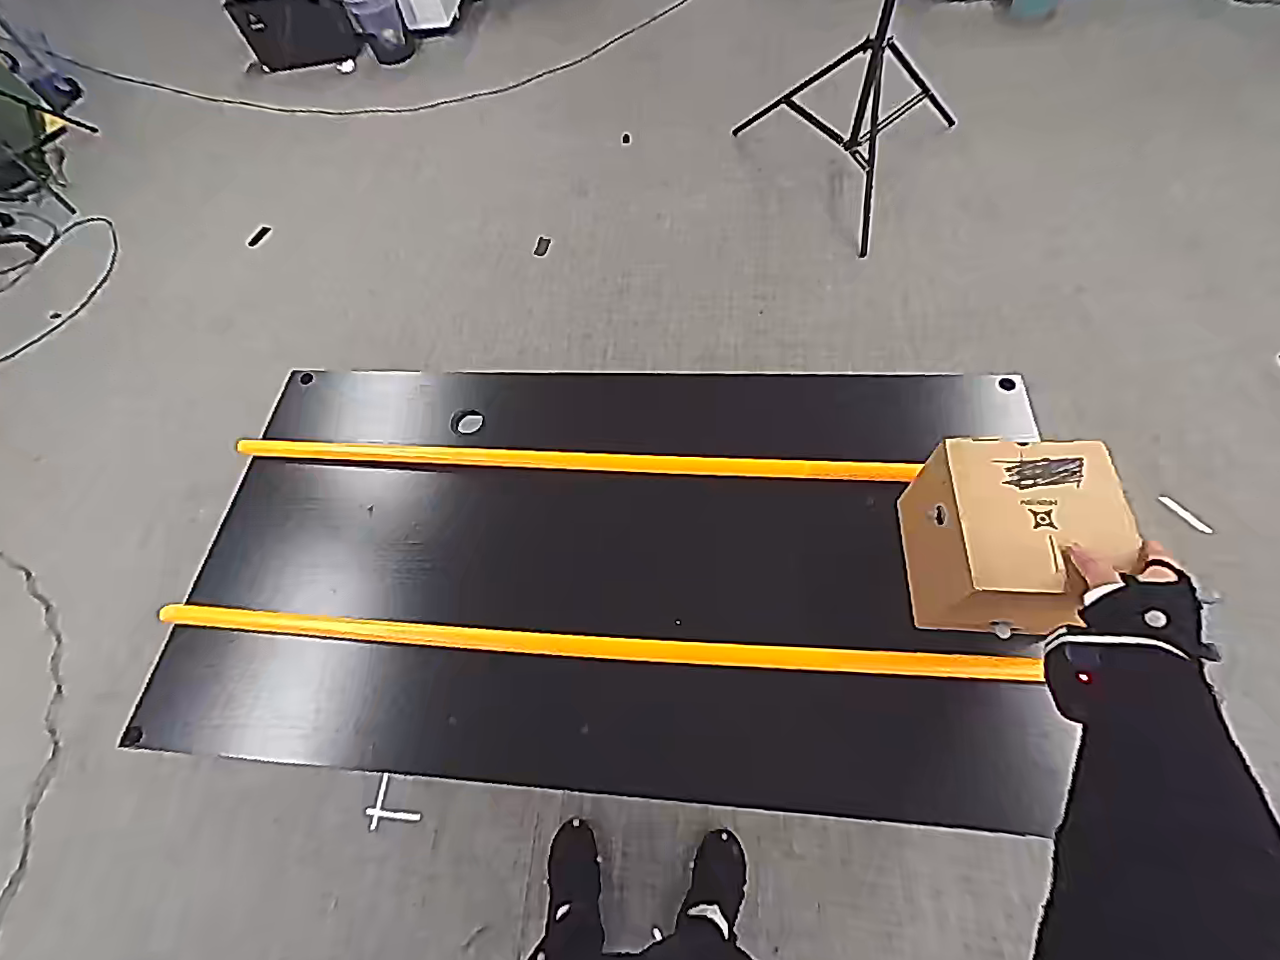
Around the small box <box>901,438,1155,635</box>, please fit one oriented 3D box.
[{"bbox_3d":[0.421,0.070,0.628,0.168,0.176,0.179,1,63,8],"label":"small box"}]
